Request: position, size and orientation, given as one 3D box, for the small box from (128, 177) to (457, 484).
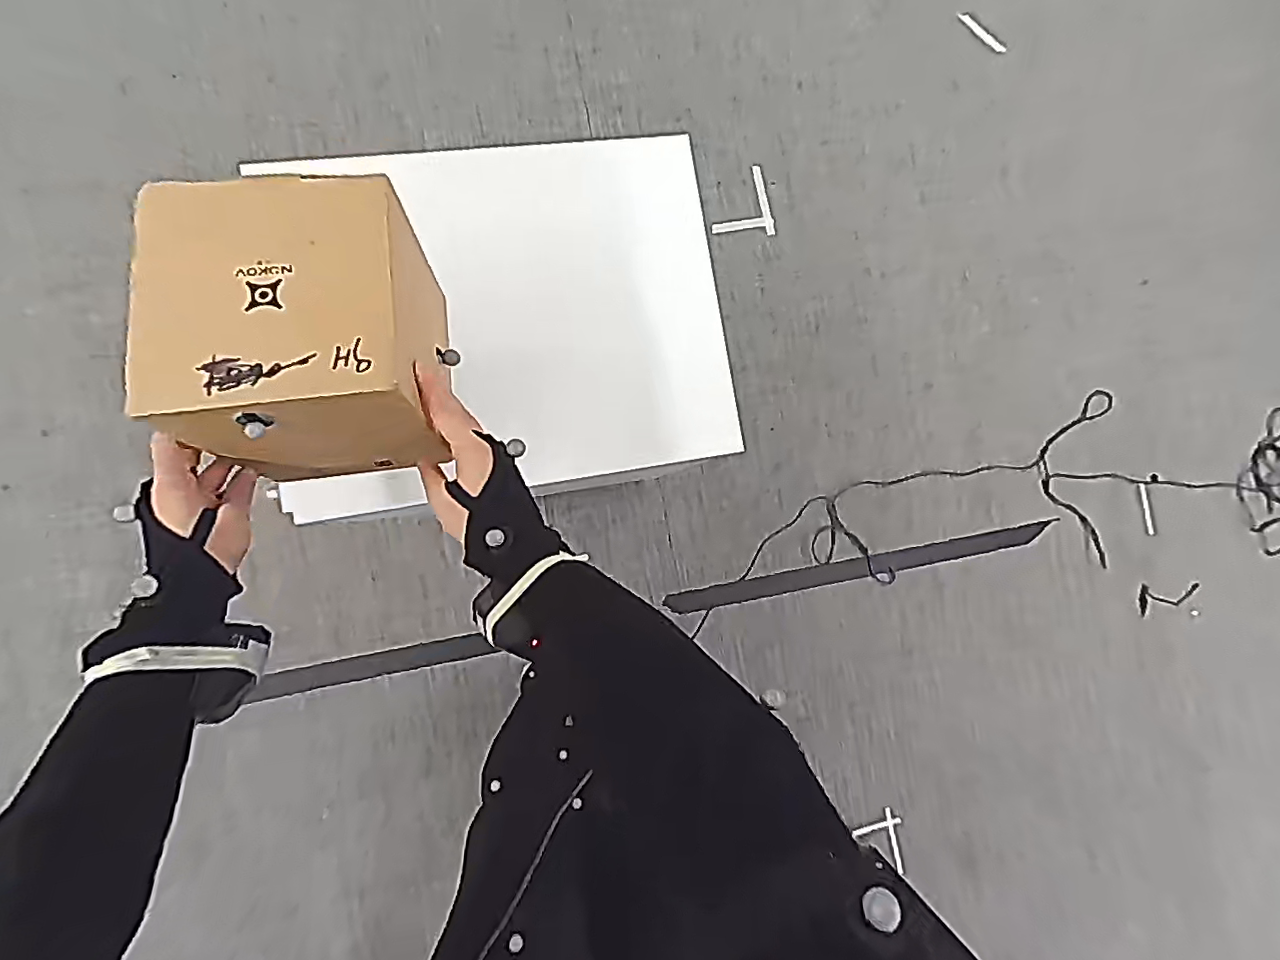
[{"bbox_3d":[-0.255,-0.109,0.442,0.168,0.176,0.179,-8,76,-7],"label":"small box"}]
